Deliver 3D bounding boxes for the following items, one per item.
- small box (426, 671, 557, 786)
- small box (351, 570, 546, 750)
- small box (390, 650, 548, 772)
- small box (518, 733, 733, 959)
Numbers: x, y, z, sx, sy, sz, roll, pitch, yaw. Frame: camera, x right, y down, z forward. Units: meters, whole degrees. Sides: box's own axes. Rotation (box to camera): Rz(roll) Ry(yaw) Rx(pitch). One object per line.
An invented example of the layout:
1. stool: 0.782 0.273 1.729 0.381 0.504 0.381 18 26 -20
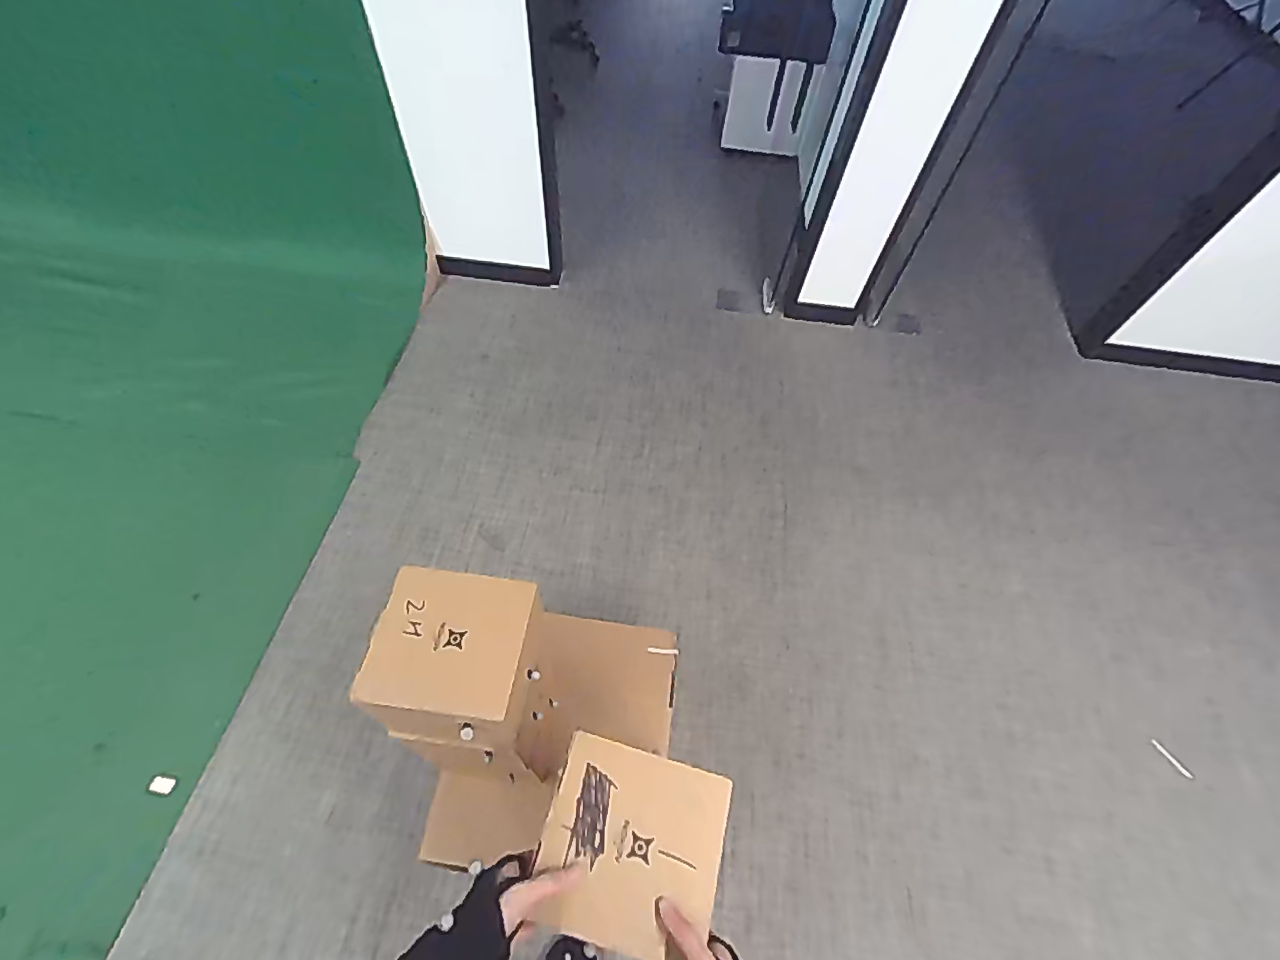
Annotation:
1. small box: -0.248 0.435 0.959 0.179 0.176 0.168 6 53 1
2. small box: -0.226 0.238 0.699 0.179 0.176 0.168 8 53 2
3. small box: -0.245 0.337 0.830 0.179 0.176 0.168 8 53 0
4. small box: -0.014 0.403 0.593 0.179 0.176 0.168 16 56 5
